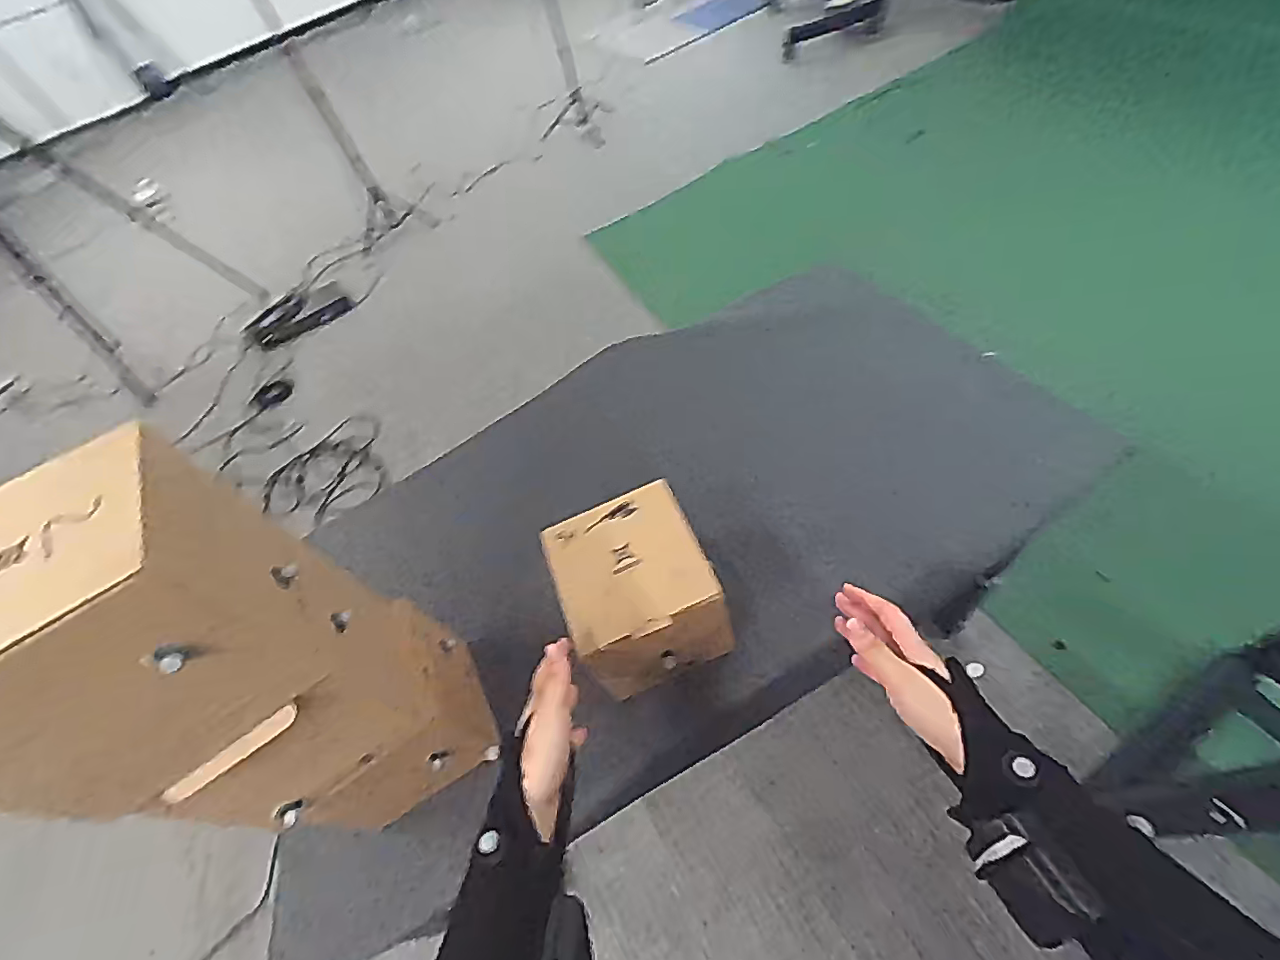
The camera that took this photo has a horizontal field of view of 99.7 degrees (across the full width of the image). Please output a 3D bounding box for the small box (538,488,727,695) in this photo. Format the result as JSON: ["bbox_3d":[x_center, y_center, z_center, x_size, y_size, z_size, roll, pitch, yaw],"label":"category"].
[{"bbox_3d":[-0.004,0.147,0.675,0.168,0.176,0.179,-25,52,-2],"label":"small box"}]

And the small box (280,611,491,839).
[{"bbox_3d":[-0.301,0.296,0.650,0.179,0.176,0.168,-33,52,-9],"label":"small box"}]
